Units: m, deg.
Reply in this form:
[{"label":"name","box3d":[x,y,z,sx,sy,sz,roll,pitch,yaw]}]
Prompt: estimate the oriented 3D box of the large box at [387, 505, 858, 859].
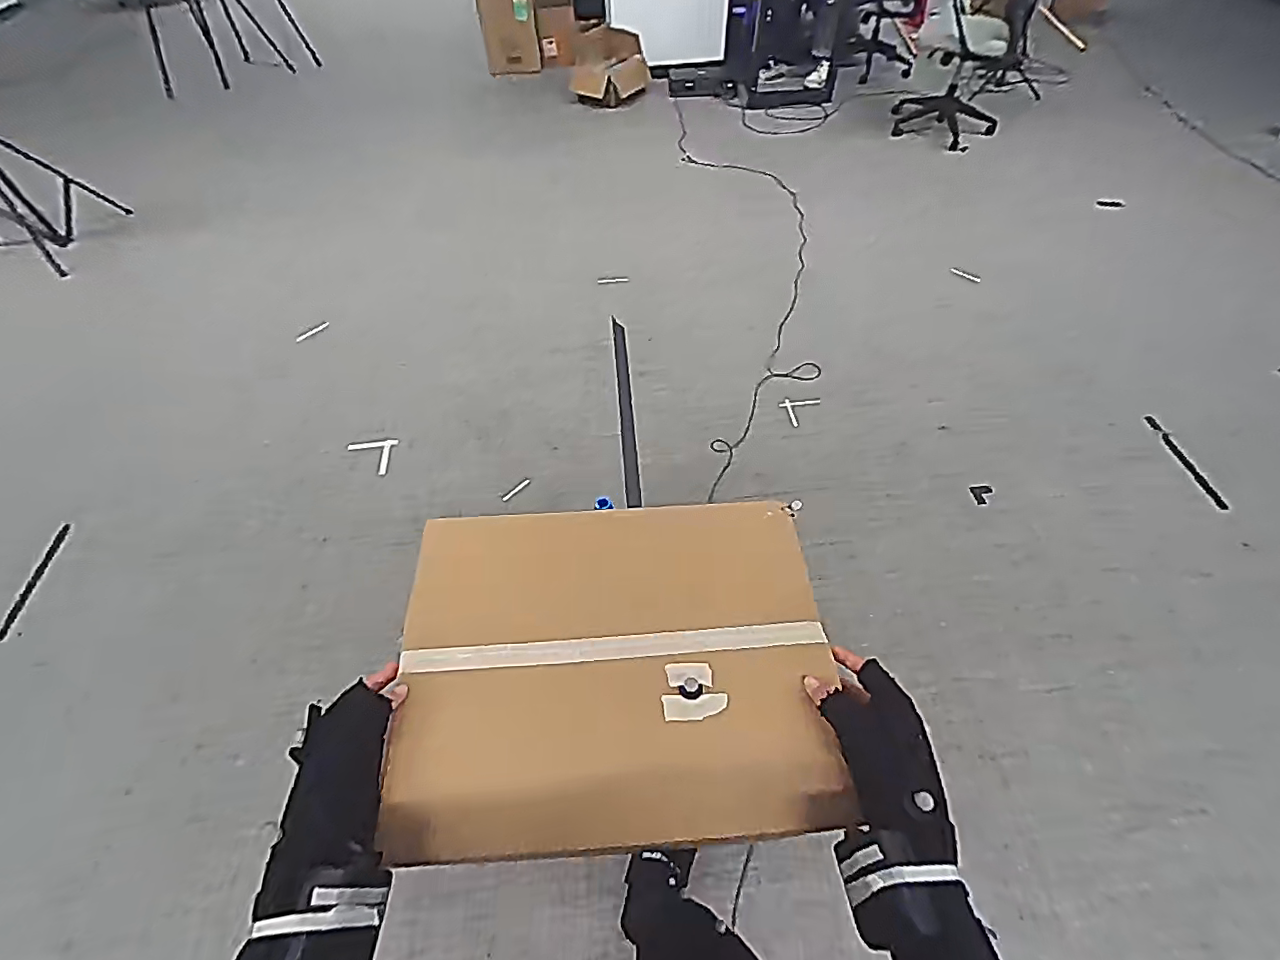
[{"label":"large box","box3d":[-0.023,0.251,0.654,0.408,0.320,0.320,-3,55,-2]}]
